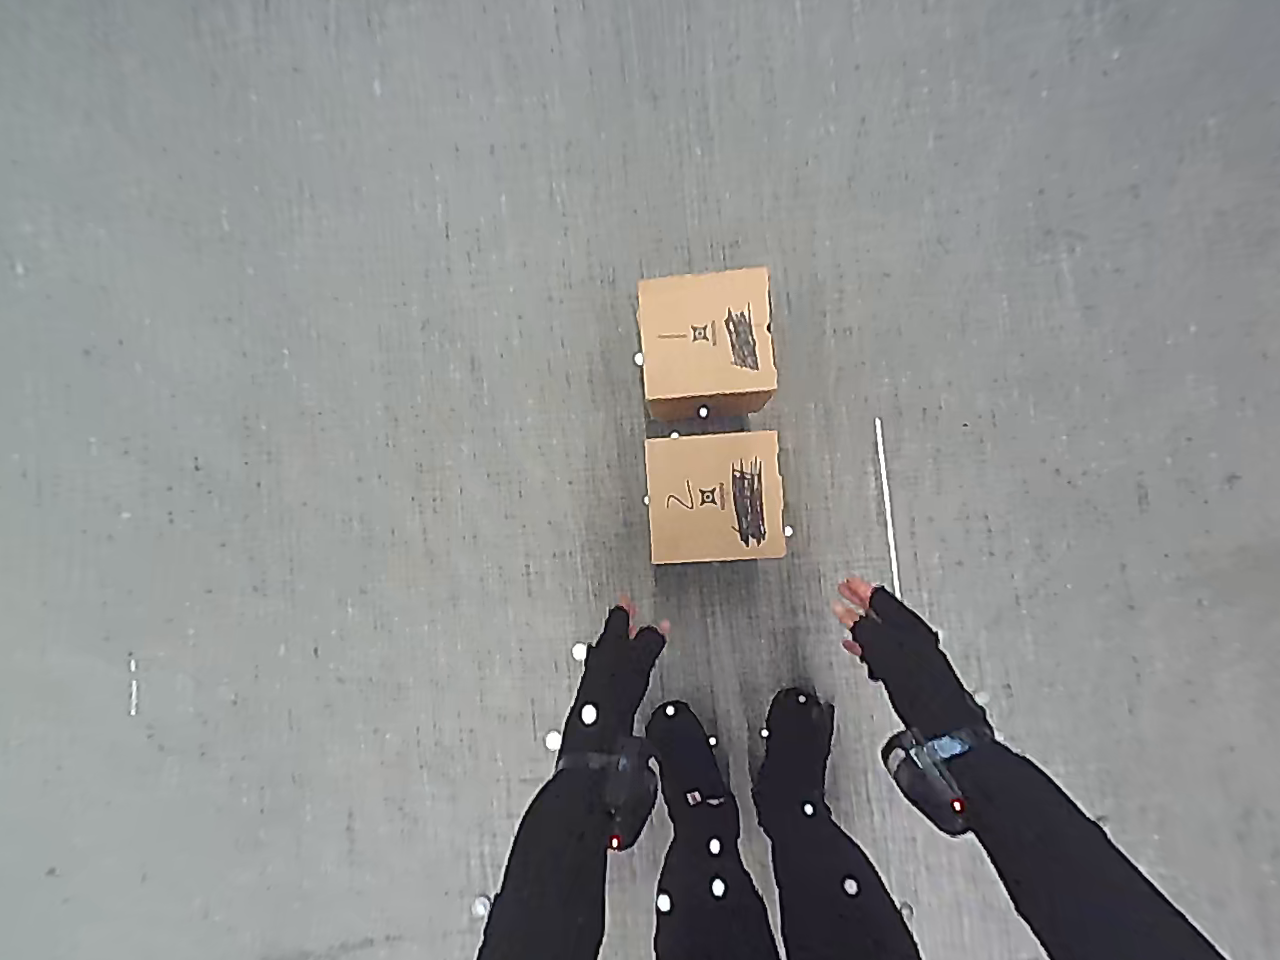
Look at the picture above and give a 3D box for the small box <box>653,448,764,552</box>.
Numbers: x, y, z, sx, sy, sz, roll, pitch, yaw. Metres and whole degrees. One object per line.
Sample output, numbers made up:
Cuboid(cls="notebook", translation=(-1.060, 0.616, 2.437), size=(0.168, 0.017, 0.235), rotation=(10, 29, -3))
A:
Cuboid(cls="small box", translation=(0.117, 0.036, 0.939), size=(0.179, 0.176, 0.168), rotation=(0, 87, 5))
